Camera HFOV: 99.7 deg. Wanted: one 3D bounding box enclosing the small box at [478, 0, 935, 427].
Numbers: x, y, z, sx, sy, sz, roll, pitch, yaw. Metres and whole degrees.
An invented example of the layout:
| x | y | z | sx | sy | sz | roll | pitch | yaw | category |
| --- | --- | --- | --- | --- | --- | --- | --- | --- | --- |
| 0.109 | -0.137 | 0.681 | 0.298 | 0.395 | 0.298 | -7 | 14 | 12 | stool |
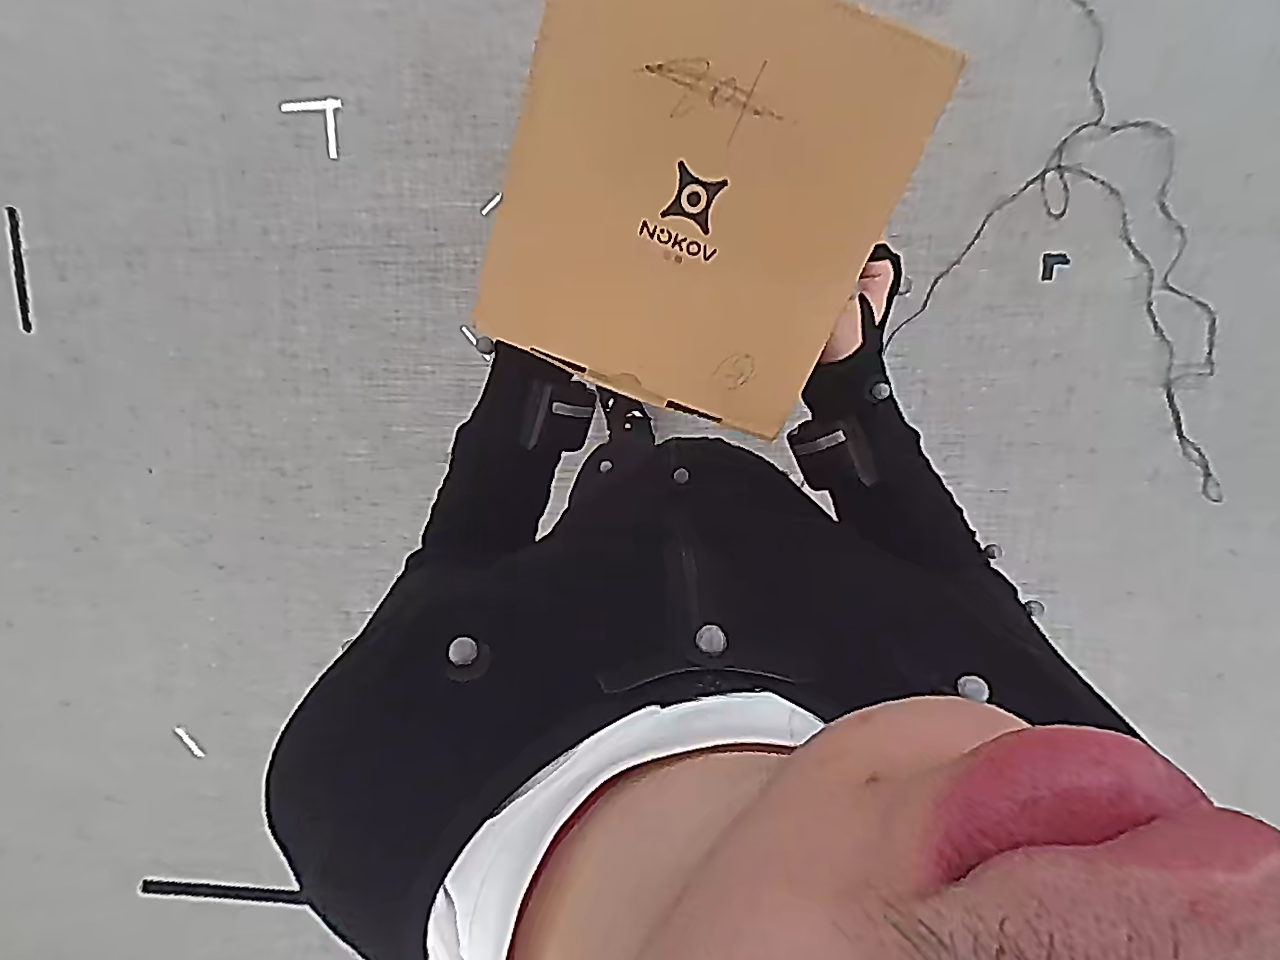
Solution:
| x | y | z | sx | sy | sz | roll | pitch | yaw | category |
| --- | --- | --- | --- | --- | --- | --- | --- | --- | --- |
| 0.026 | -0.159 | 0.323 | 0.168 | 0.176 | 0.179 | 19 | 113 | -4 | small box |
